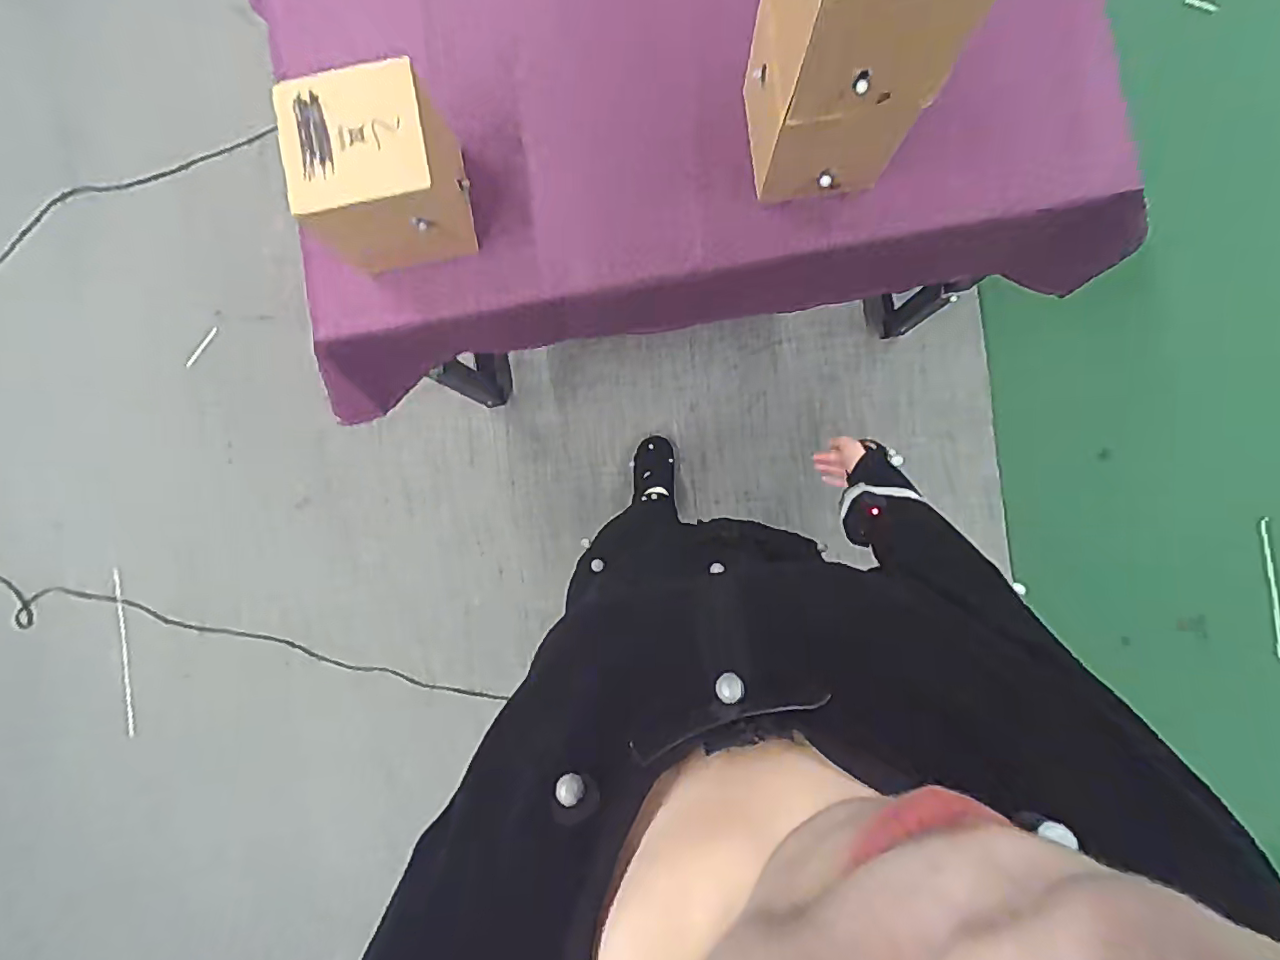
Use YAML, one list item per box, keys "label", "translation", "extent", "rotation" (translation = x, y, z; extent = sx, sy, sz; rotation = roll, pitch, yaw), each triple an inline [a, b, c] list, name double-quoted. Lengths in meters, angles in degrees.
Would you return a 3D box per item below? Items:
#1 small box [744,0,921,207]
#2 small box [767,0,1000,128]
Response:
- label: "small box"
  translation: [0.234, -0.489, 0.700]
  extent: [0.168, 0.176, 0.179]
  rotation: [-7, 88, 3]
- label: "small box"
  translation: [0.229, -0.496, 0.537]
  extent: [0.168, 0.176, 0.179]
  rotation: [-7, 89, 2]
